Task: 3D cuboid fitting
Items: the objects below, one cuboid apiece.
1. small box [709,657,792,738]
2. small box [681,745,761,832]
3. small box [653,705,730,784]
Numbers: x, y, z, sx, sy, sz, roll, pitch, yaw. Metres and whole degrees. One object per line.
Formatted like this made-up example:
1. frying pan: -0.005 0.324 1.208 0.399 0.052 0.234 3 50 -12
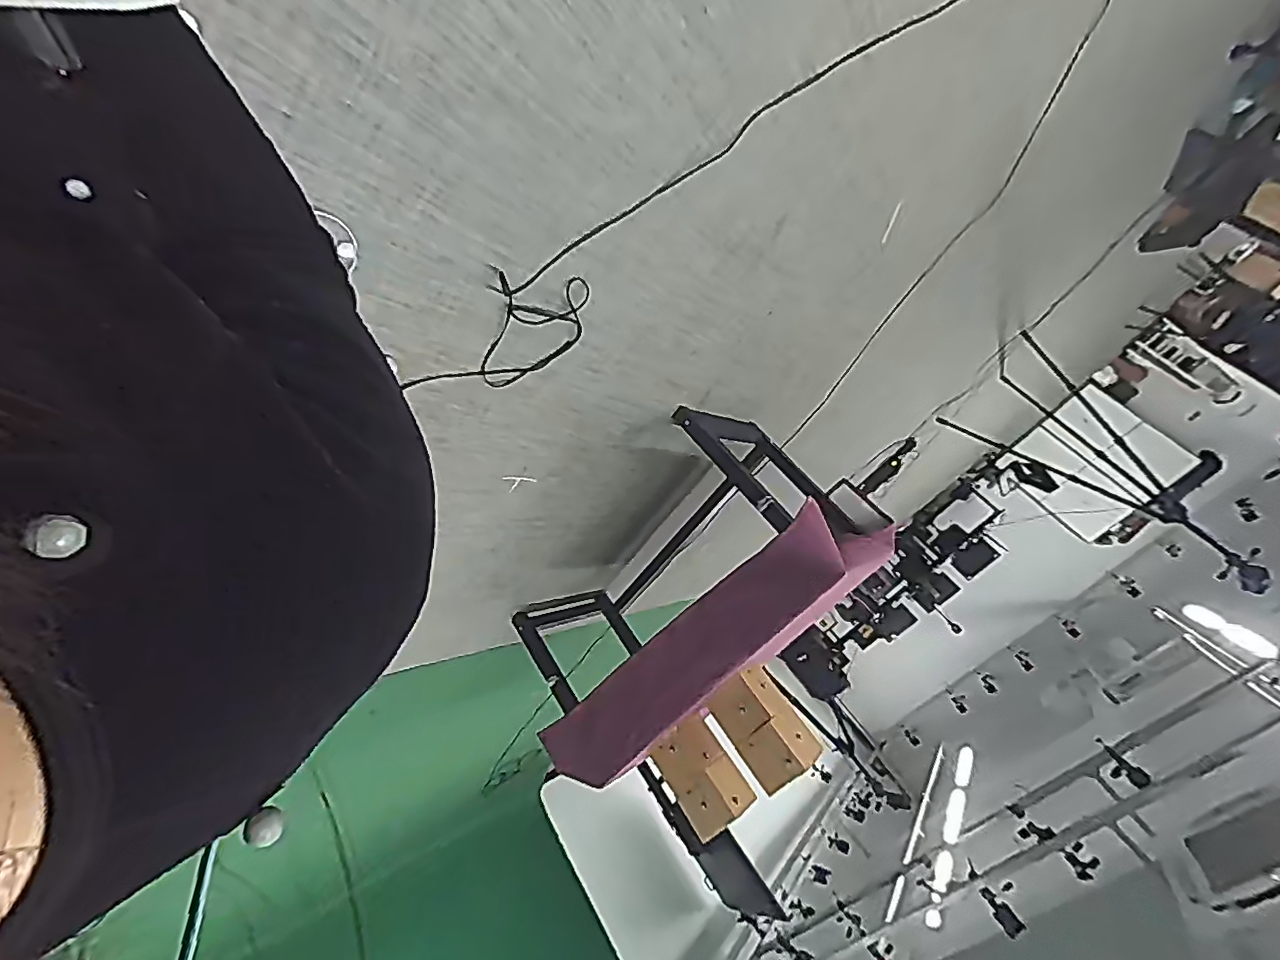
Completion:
1. small box: 0.364 0.707 1.787 0.179 0.176 0.168 -50 152 20
2. small box: 0.272 1.044 1.840 0.168 0.176 0.179 -49 152 21
3. small box: 0.181 0.926 1.911 0.168 0.176 0.179 -49 152 20
